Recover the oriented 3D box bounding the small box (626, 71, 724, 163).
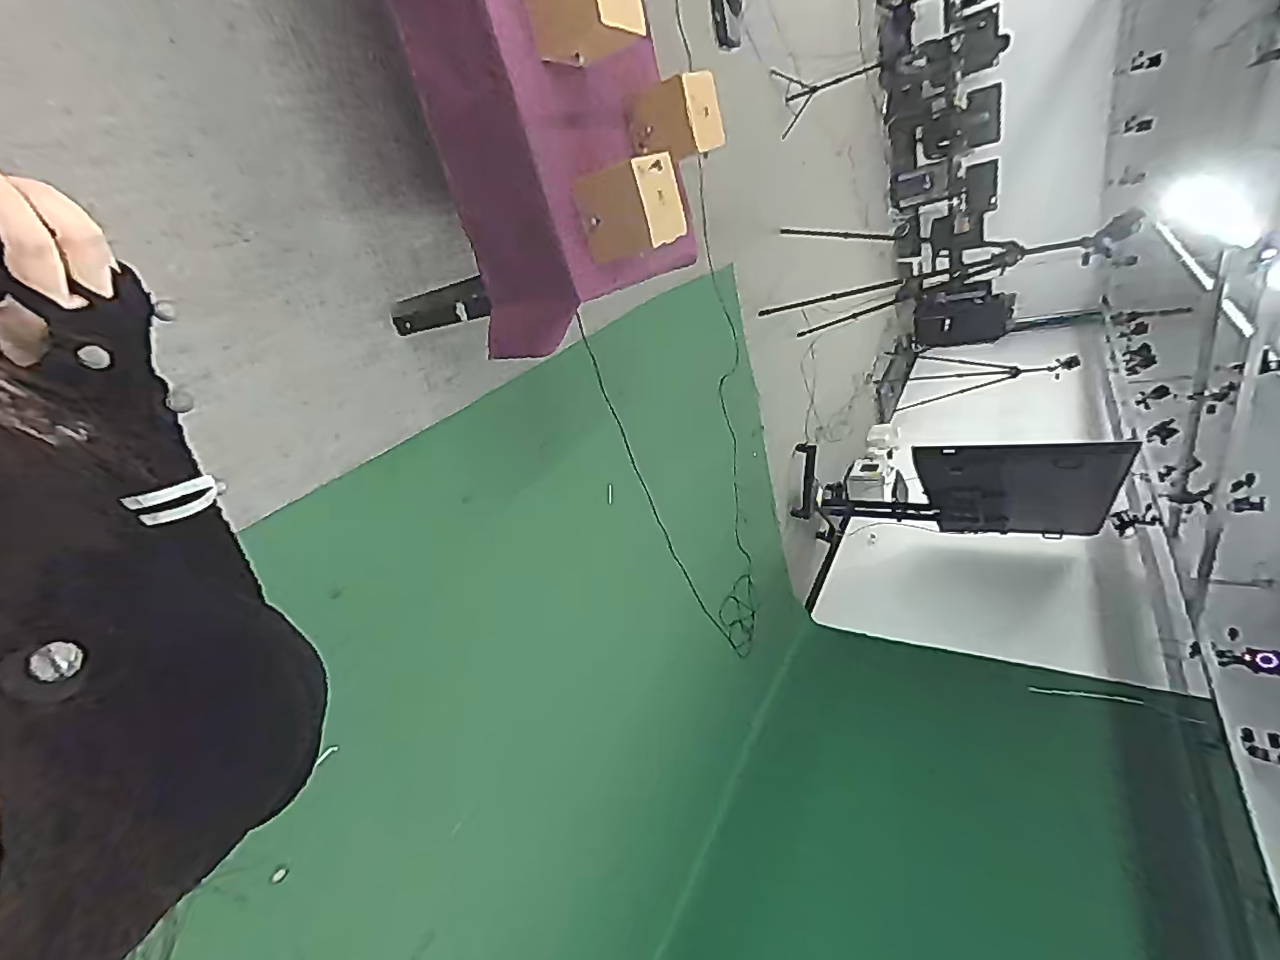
[{"bbox_3d":[0.090,-0.905,1.367,0.179,0.176,0.168,-47,128,-43],"label":"small box"}]

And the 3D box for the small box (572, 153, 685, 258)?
[{"bbox_3d":[-0.023,-0.613,1.221,0.168,0.176,0.179,-46,128,-44],"label":"small box"}]

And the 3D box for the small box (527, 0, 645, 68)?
[{"bbox_3d":[-0.117,-0.961,1.071,0.168,0.176,0.179,-41,125,-46],"label":"small box"}]
